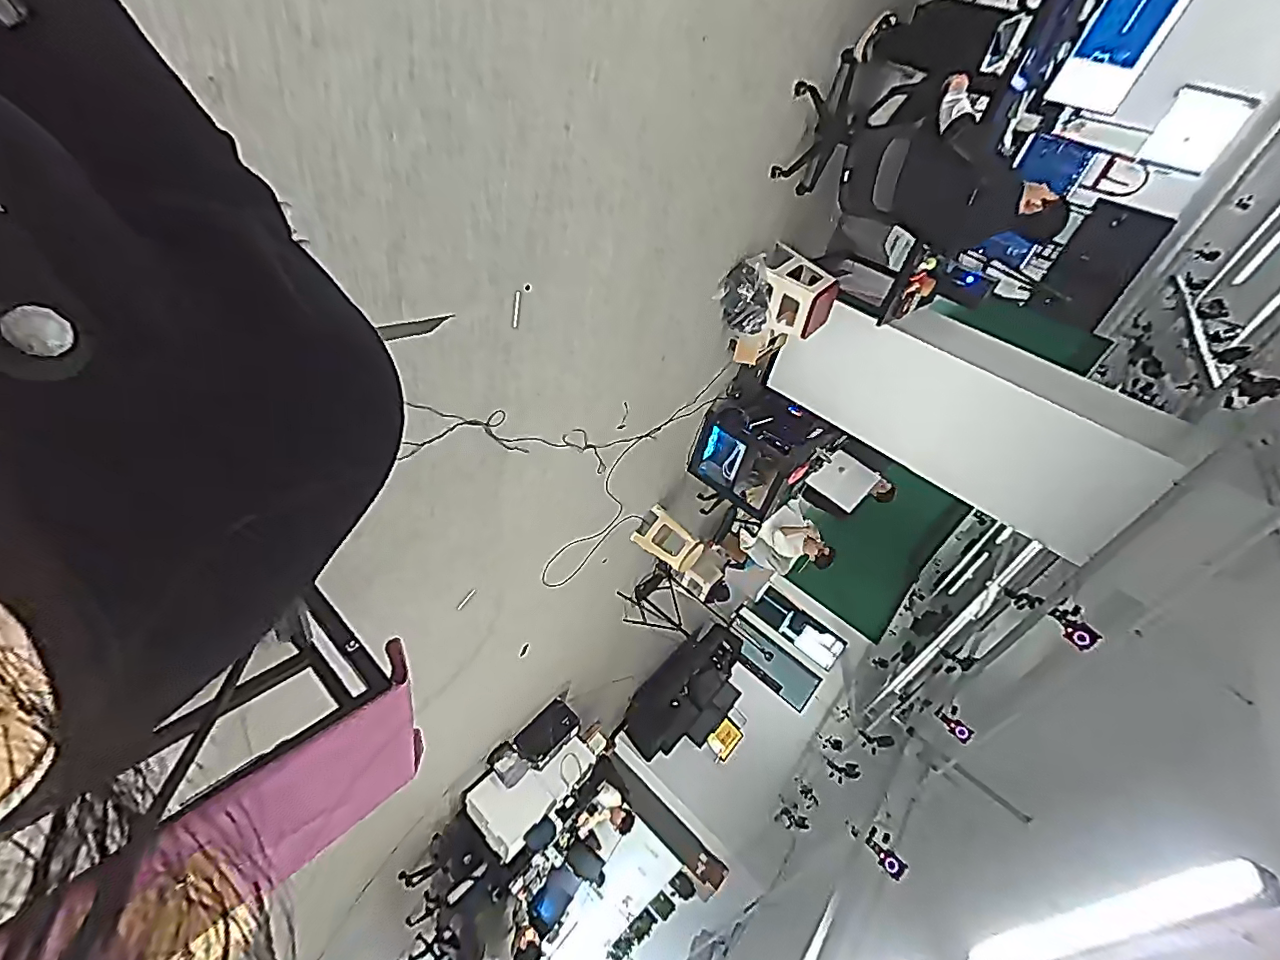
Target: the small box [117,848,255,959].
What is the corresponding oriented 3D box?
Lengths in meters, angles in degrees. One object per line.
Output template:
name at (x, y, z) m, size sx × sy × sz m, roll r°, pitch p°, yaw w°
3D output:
small box at (-0.968, 0.944, 1.162) m, size 0.168 × 0.176 × 0.179 m, roll -30°, pitch 148°, yaw -46°
